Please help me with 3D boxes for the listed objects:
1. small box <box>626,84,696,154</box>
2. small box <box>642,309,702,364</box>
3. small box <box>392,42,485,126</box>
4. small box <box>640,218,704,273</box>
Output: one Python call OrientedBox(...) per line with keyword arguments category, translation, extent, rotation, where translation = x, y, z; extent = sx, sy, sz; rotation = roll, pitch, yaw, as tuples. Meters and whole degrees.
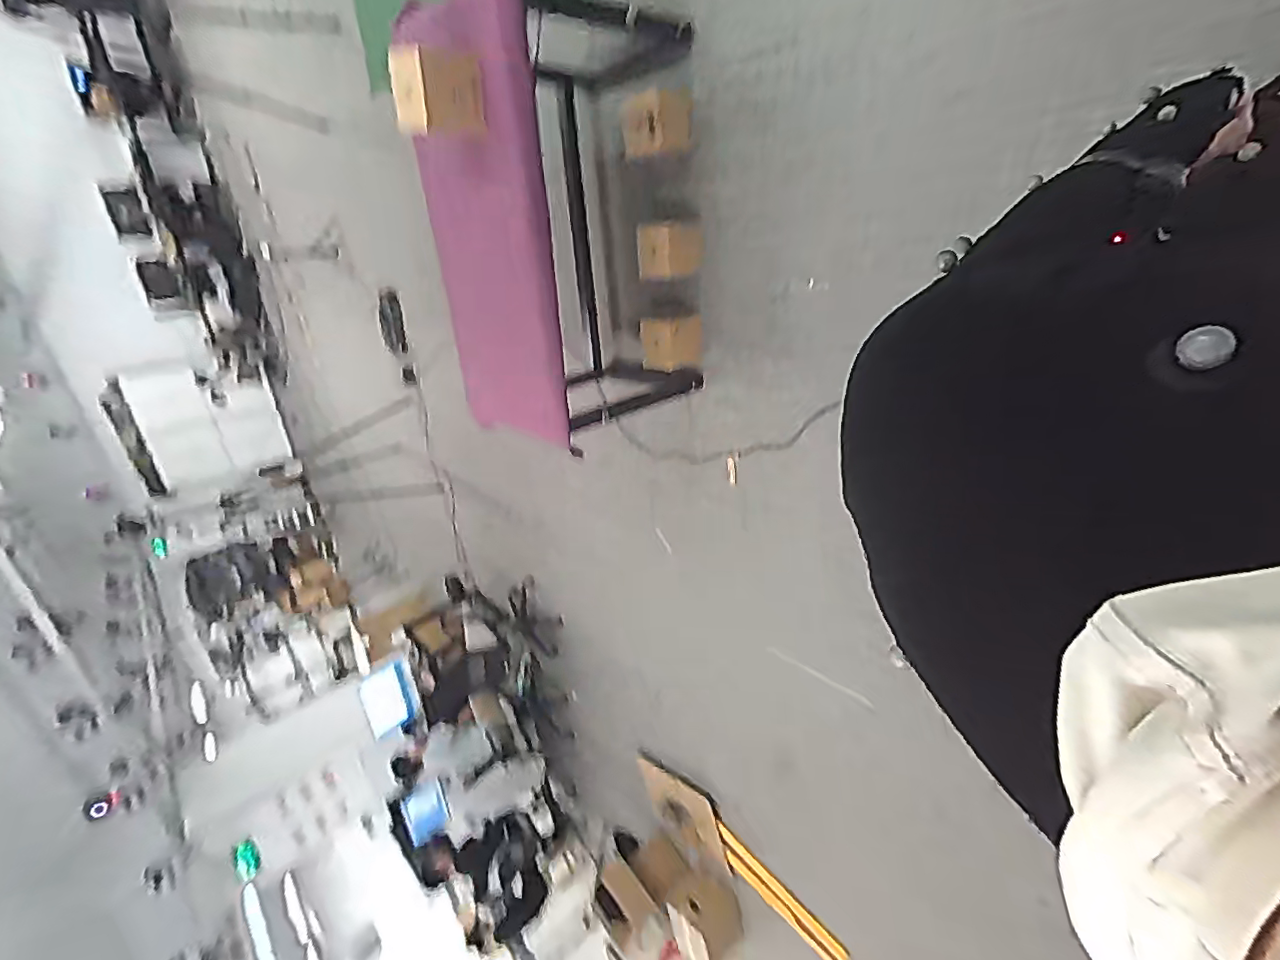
OrientedBox(category="small box", translation=(0.078, -1.207, 1.817), extent=(0.179, 0.176, 0.168), rotation=(19, 122, 45))
OrientedBox(category="small box", translation=(0.129, -0.563, 2.108), extent=(0.168, 0.176, 0.179), rotation=(21, 124, 43))
OrientedBox(category="small box", translation=(-0.522, -1.040, 1.428), extent=(0.179, 0.176, 0.168), rotation=(31, 131, 36))
OrientedBox(category="small box", translation=(0.118, -0.854, 1.962), extent=(0.168, 0.176, 0.179), rotation=(23, 126, 43))
